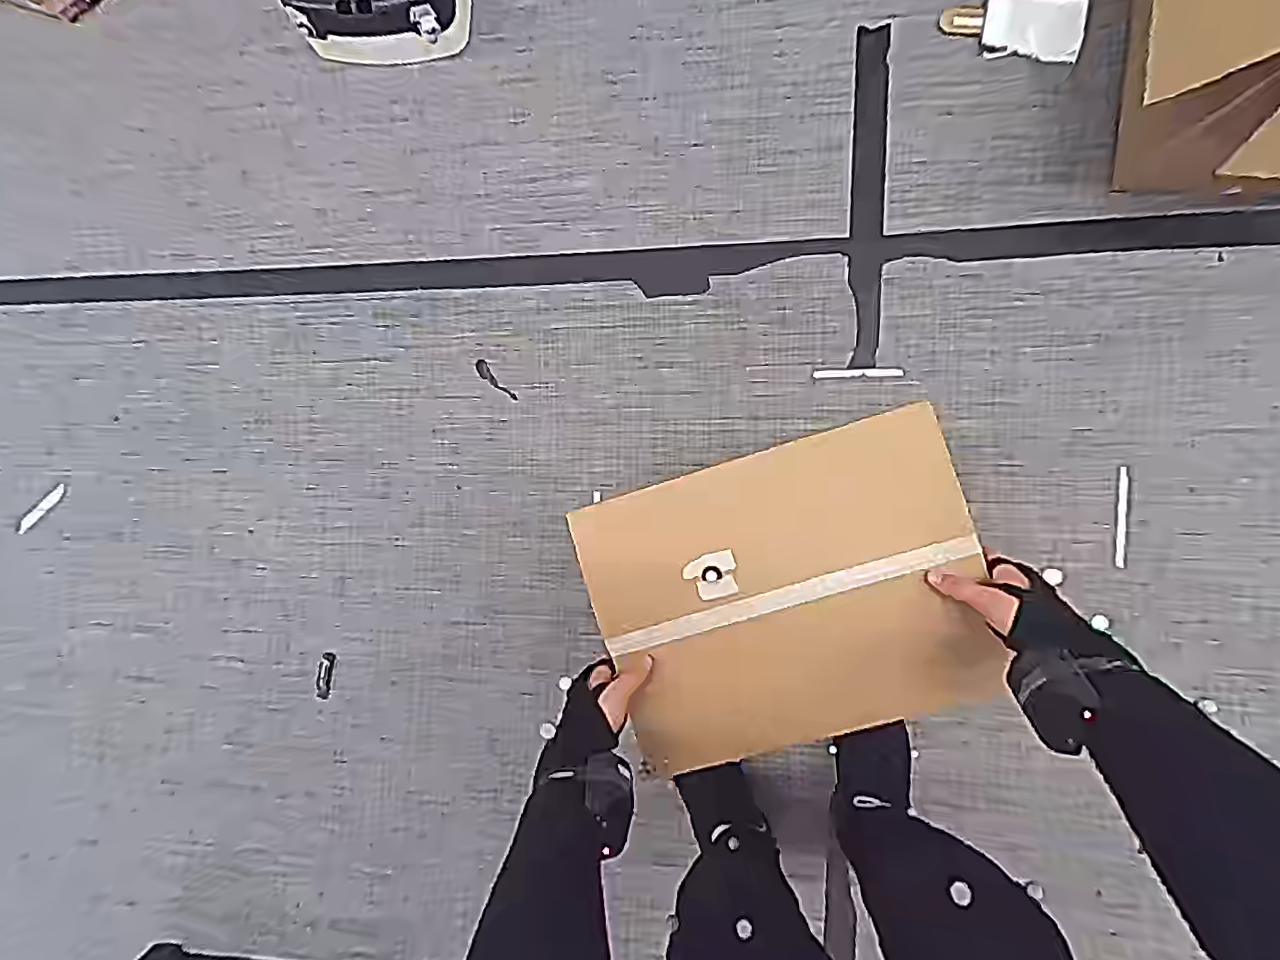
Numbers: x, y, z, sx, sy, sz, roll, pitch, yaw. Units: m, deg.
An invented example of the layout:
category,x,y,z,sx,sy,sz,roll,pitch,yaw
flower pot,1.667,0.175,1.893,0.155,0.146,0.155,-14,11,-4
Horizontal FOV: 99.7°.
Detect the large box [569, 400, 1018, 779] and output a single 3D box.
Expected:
category,x,y,z,sx,sy,sz,roll,pitch,yaw
large box,0.173,0.120,0.722,0.408,0.320,0.320,-18,87,8
